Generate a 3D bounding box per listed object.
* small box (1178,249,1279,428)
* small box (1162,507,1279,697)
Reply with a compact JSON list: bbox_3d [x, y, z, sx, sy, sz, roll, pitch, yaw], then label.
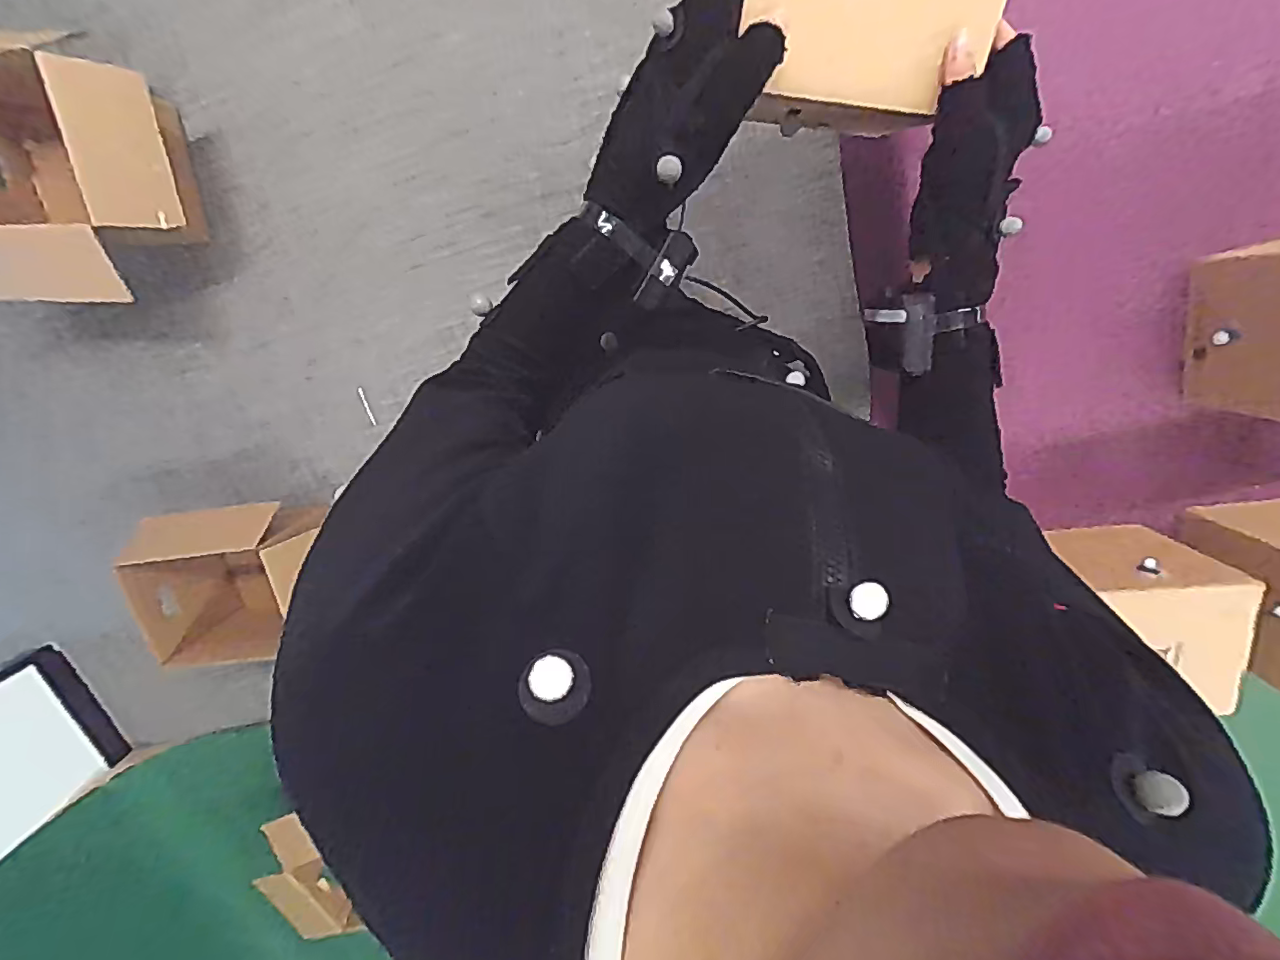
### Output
[{"bbox_3d":[0.716,-0.155,0.546,0.179,0.176,0.168,-11,107,8],"label":"small box"},{"bbox_3d":[0.789,0.135,0.636,0.179,0.176,0.168,-7,107,6],"label":"small box"}]
